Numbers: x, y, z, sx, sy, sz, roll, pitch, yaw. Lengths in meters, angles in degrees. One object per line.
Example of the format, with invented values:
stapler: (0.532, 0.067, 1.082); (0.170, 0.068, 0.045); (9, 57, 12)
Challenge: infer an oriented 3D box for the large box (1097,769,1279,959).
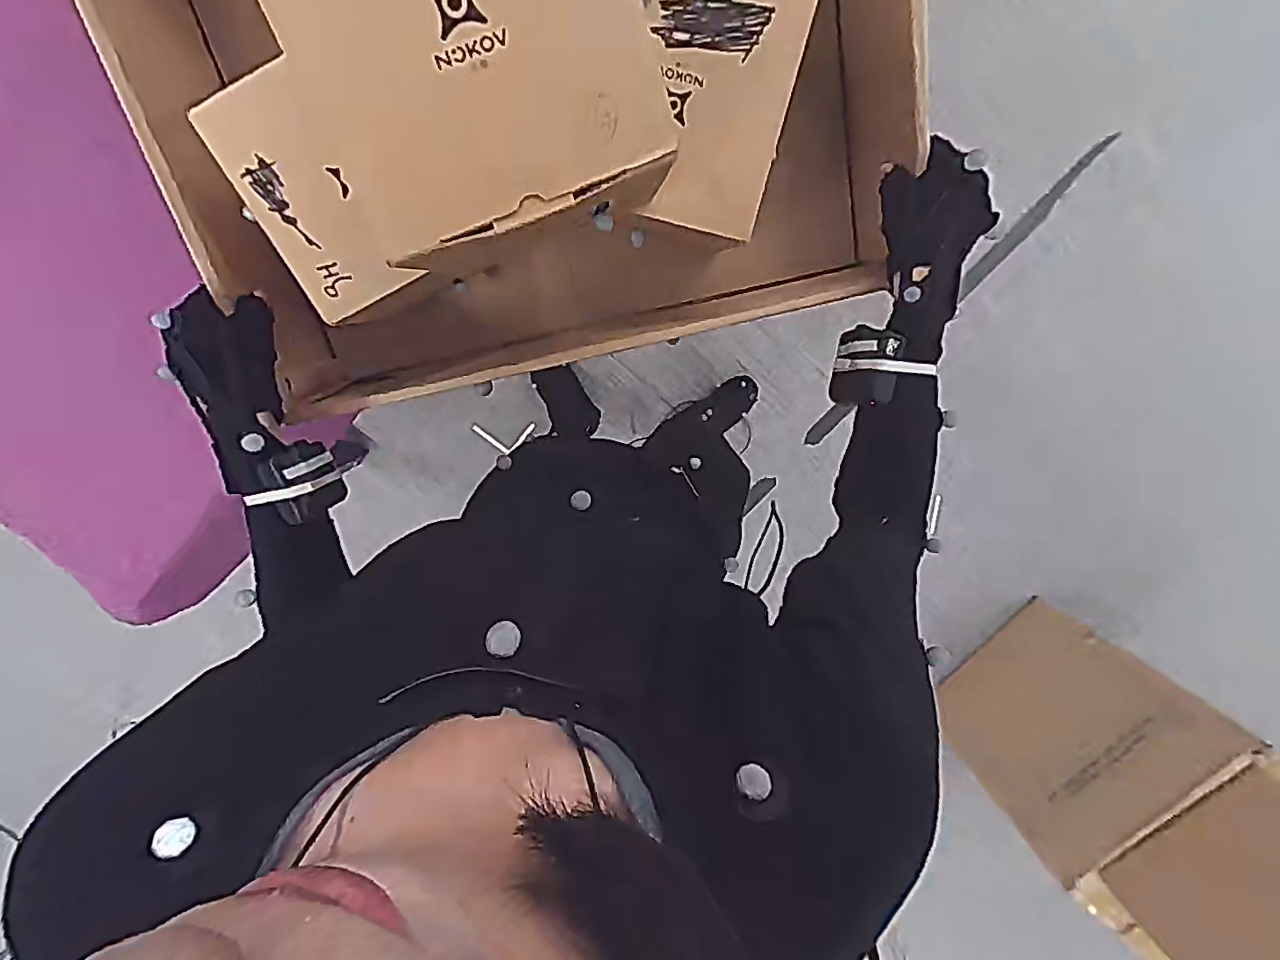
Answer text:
large box: (1.231, 0.857, 1.023); (0.320, 0.320, 0.408); (42, 101, -11)

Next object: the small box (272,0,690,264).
small box: (-0.082, -0.239, 0.317); (0.168, 0.176, 0.179); (-19, 109, 2)
